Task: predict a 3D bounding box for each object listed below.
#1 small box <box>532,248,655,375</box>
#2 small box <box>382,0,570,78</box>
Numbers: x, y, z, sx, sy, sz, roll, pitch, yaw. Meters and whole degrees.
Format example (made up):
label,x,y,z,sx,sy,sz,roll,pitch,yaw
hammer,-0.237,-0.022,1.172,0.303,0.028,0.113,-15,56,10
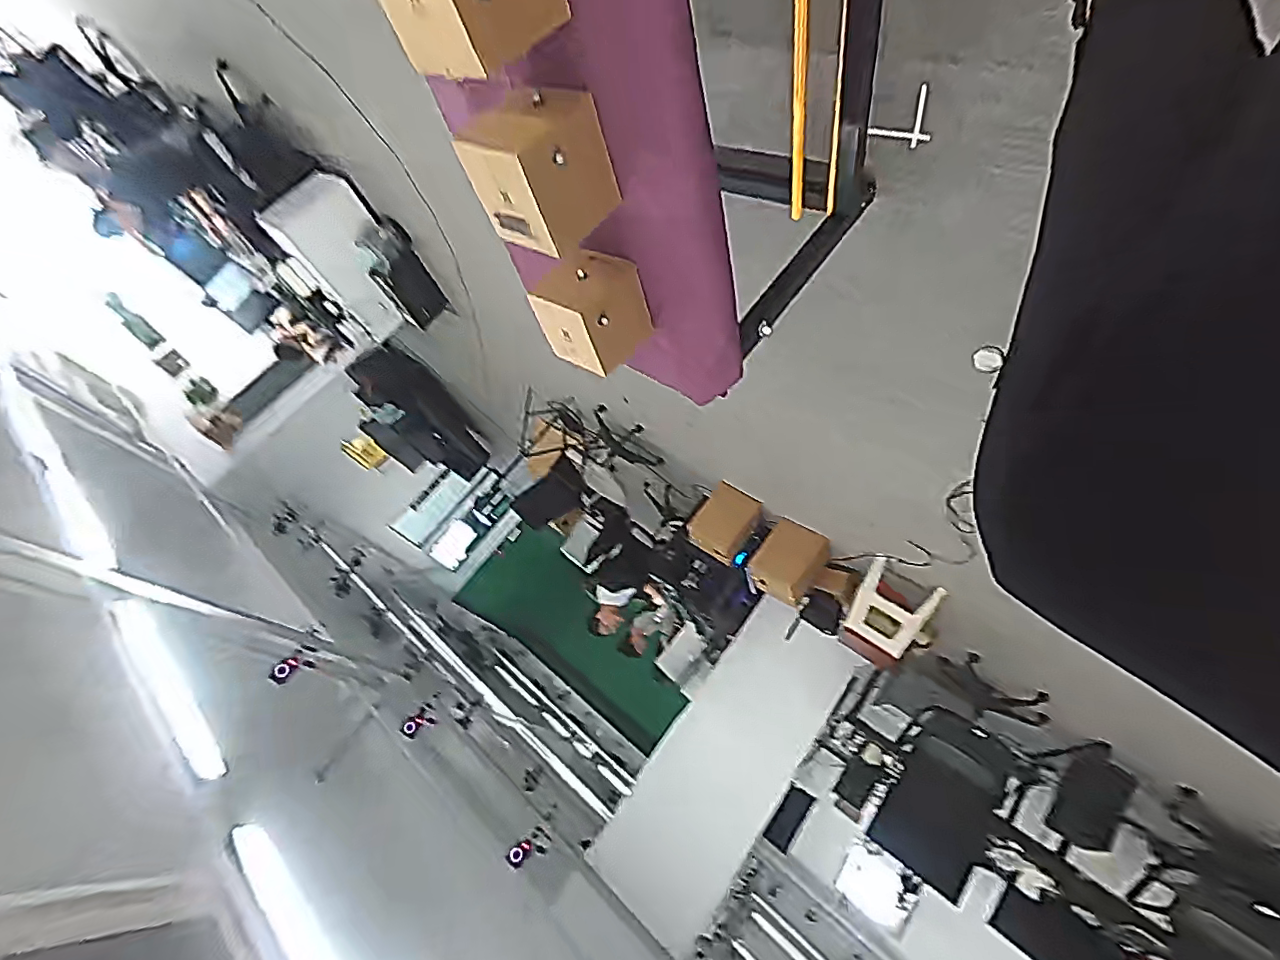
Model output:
label,x,y,z,sx,sy,sz,roll,pitch,yaw
small box,-0.091,-0.363,1.152,0.168,0.176,0.179,30,159,32
small box,-0.221,-0.648,0.676,0.168,0.176,0.179,30,162,31
